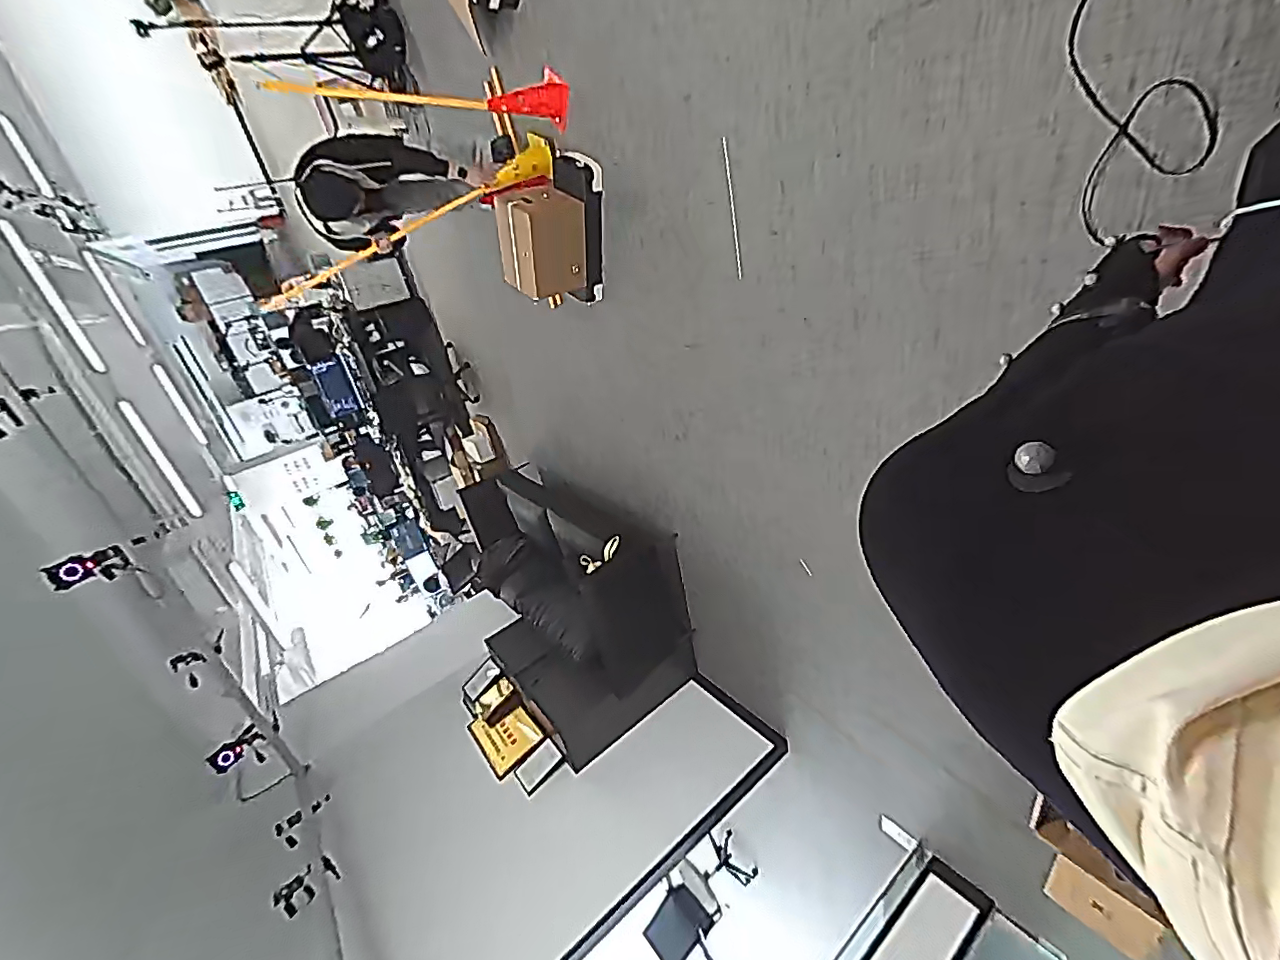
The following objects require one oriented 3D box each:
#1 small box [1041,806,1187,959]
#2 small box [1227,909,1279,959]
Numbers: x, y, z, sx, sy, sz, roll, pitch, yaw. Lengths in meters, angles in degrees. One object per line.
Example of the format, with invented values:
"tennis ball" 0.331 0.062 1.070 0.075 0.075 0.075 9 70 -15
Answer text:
"small box" 0.998 0.843 1.140 0.179 0.176 0.168 27 135 48
"small box" 1.154 0.918 0.944 0.168 0.176 0.179 24 135 48
